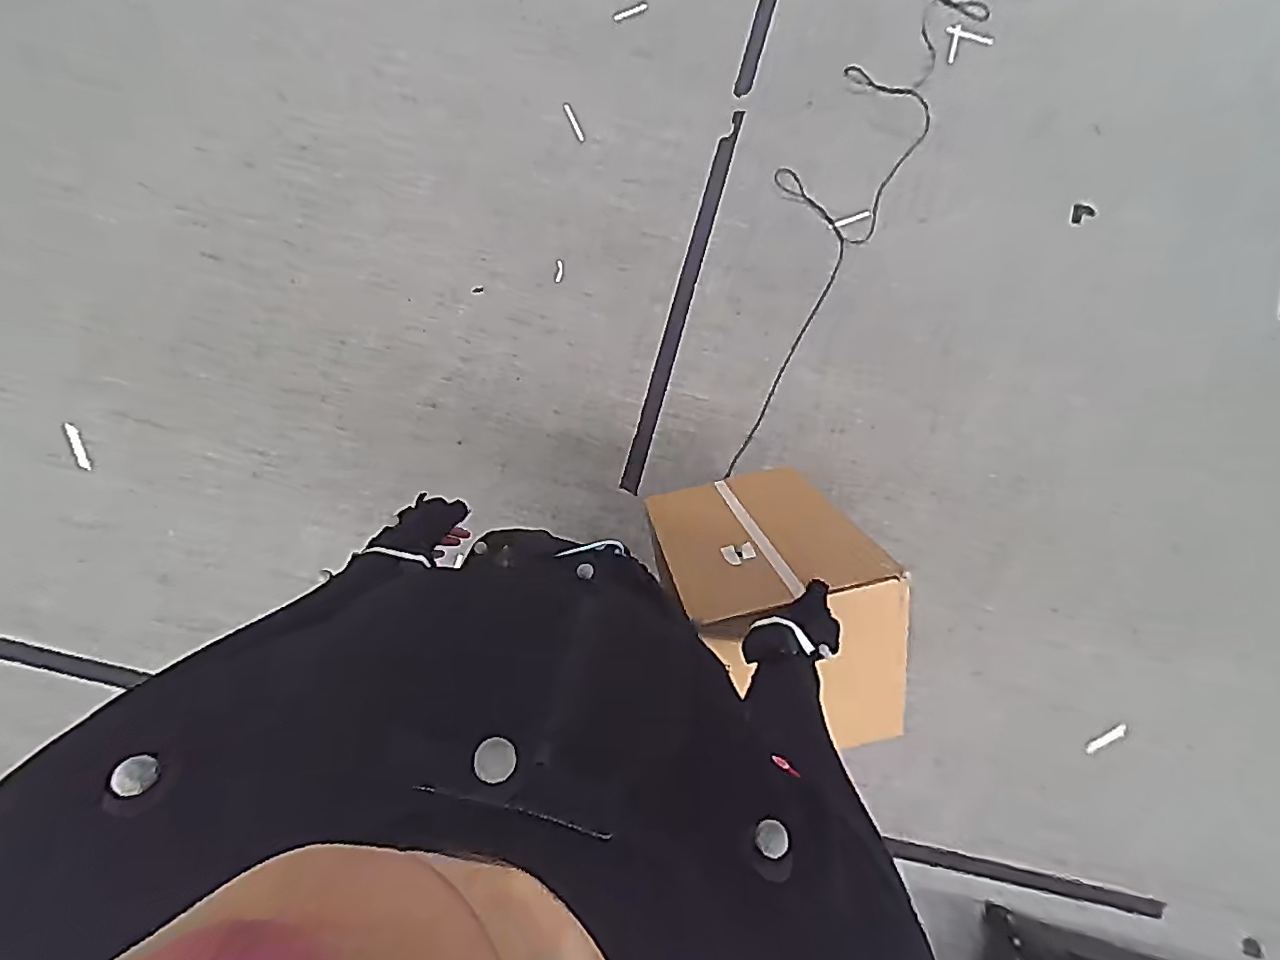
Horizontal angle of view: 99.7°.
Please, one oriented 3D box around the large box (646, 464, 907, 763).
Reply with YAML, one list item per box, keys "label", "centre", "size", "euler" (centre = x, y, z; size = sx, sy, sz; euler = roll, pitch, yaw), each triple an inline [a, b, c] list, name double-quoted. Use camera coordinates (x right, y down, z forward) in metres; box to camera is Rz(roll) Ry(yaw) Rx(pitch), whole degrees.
- label: "large box"
  centre: [0.217, 0.212, 0.987]
  size: [0.320, 0.408, 0.320]
  euler: [-14, 116, -4]
